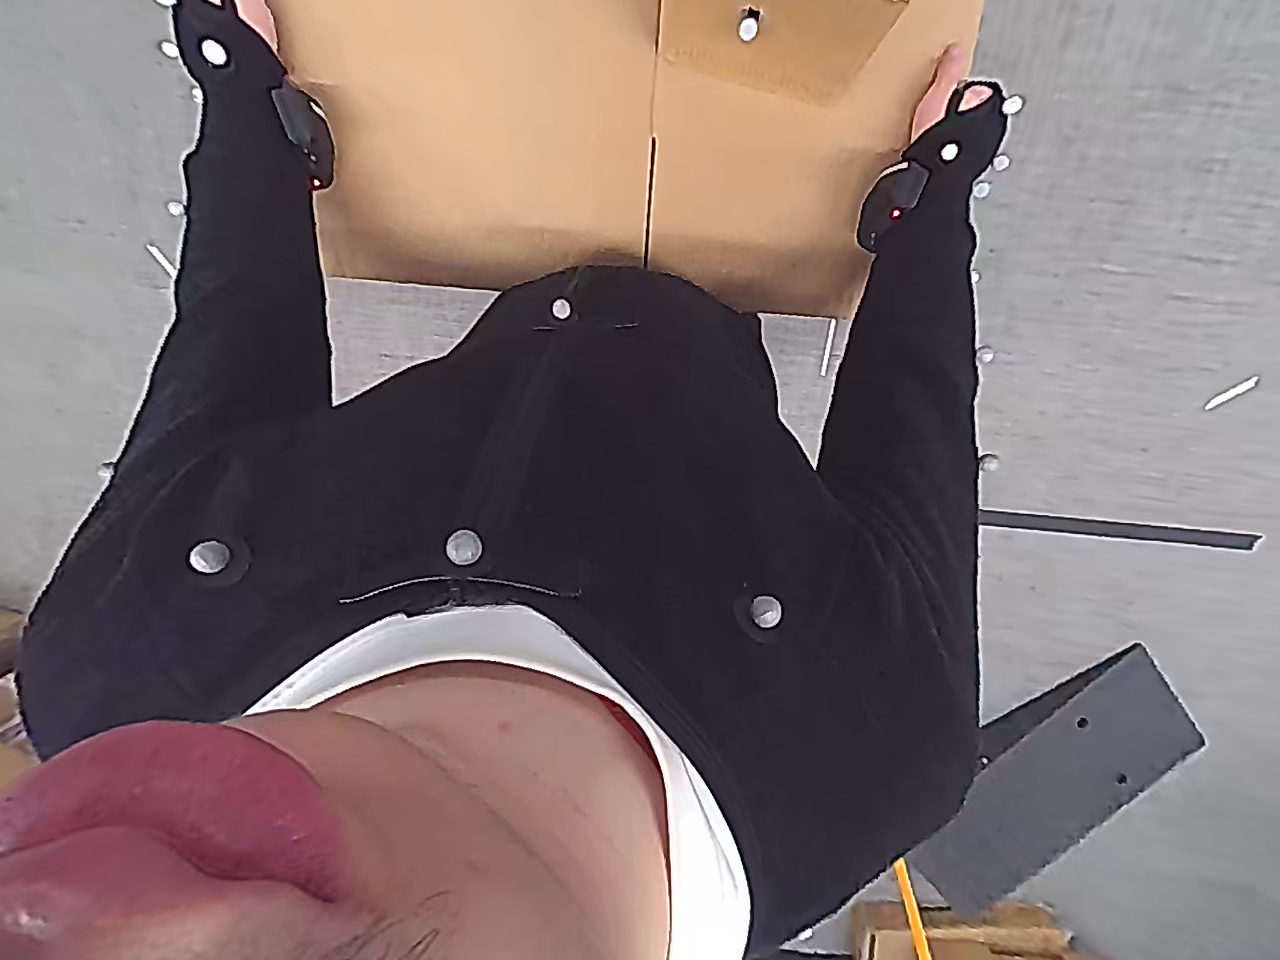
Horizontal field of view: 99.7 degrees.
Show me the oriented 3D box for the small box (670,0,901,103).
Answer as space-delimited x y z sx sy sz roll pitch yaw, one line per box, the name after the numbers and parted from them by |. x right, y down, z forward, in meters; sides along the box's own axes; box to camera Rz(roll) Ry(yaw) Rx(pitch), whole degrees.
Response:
0.126 -0.445 0.436 0.179 0.176 0.168 15 103 -1 | small box
